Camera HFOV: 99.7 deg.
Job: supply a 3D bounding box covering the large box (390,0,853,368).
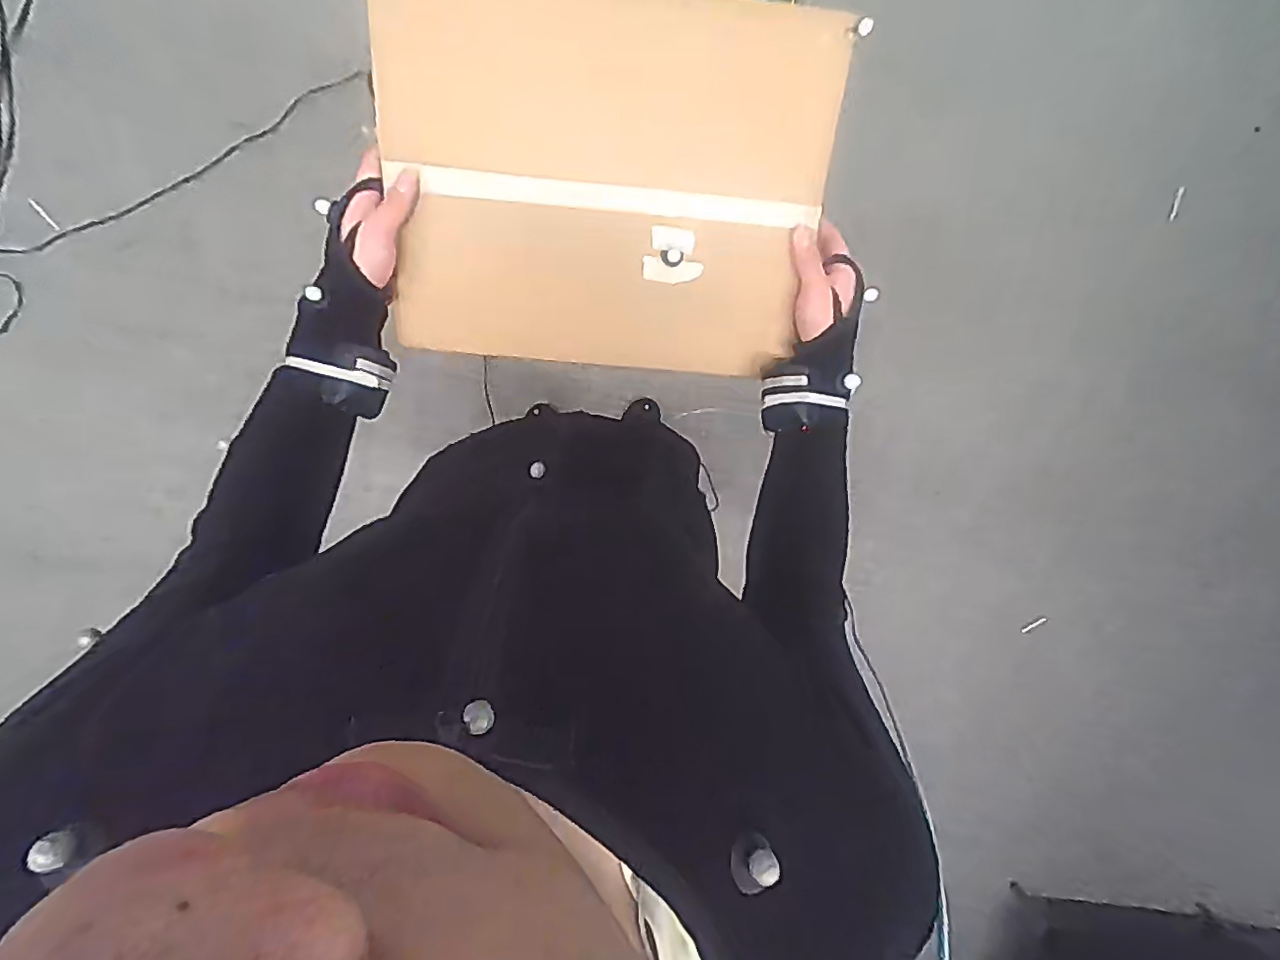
[{"bbox_3d":[-0.030,-0.328,0.651,0.408,0.320,0.320,4,113,-4],"label":"large box"}]
